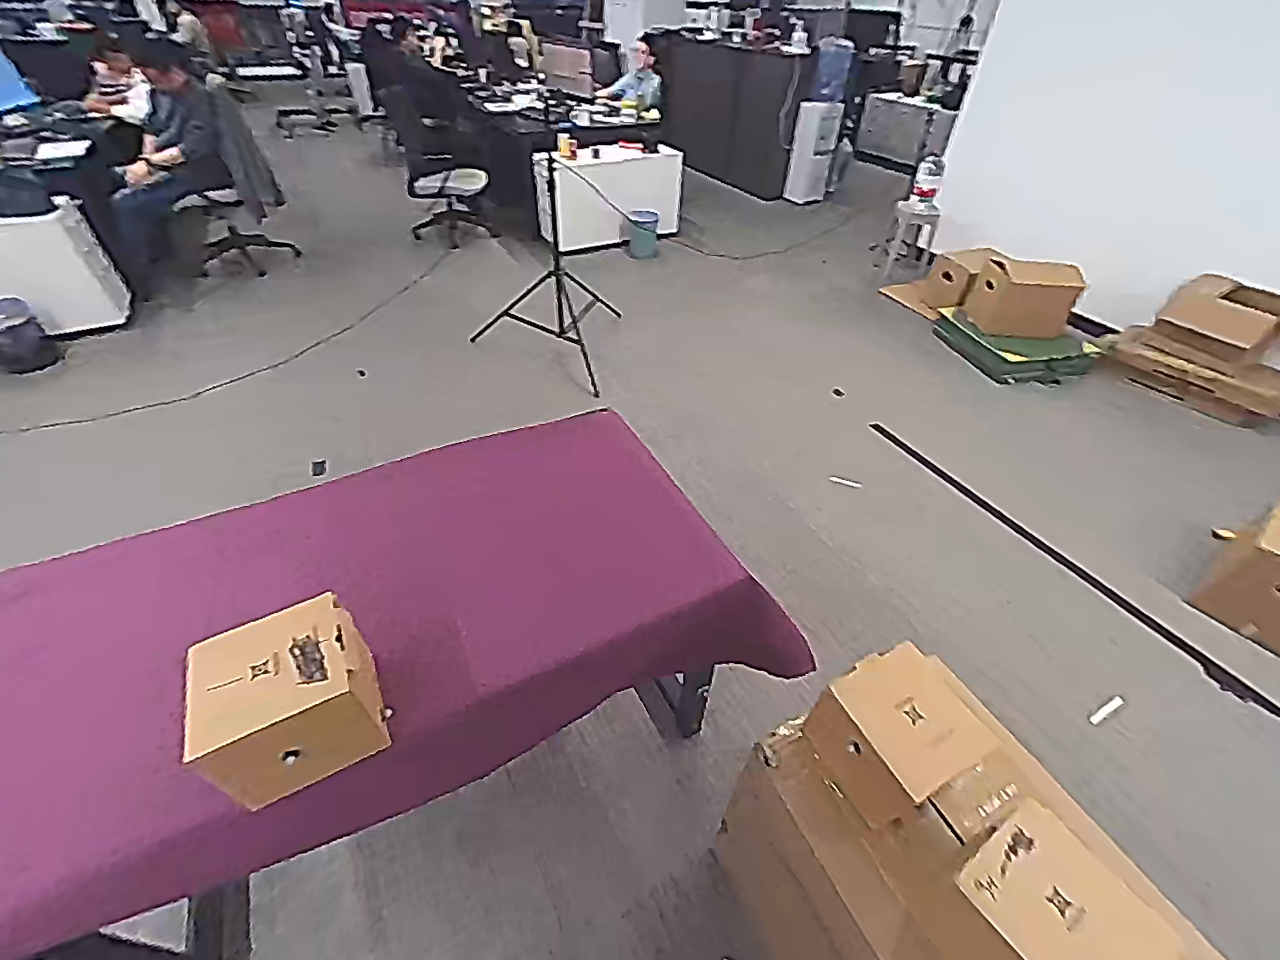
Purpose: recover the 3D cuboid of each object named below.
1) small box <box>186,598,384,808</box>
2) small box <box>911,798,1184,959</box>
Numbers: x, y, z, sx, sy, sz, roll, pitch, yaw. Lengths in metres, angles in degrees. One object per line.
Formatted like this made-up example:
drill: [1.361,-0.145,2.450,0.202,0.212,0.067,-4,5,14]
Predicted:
small box: [-0.464,0.298,0.729,0.179,0.176,0.168,-21,46,-22]
small box: [0.474,0.538,0.657,0.168,0.176,0.179,-24,48,-24]
